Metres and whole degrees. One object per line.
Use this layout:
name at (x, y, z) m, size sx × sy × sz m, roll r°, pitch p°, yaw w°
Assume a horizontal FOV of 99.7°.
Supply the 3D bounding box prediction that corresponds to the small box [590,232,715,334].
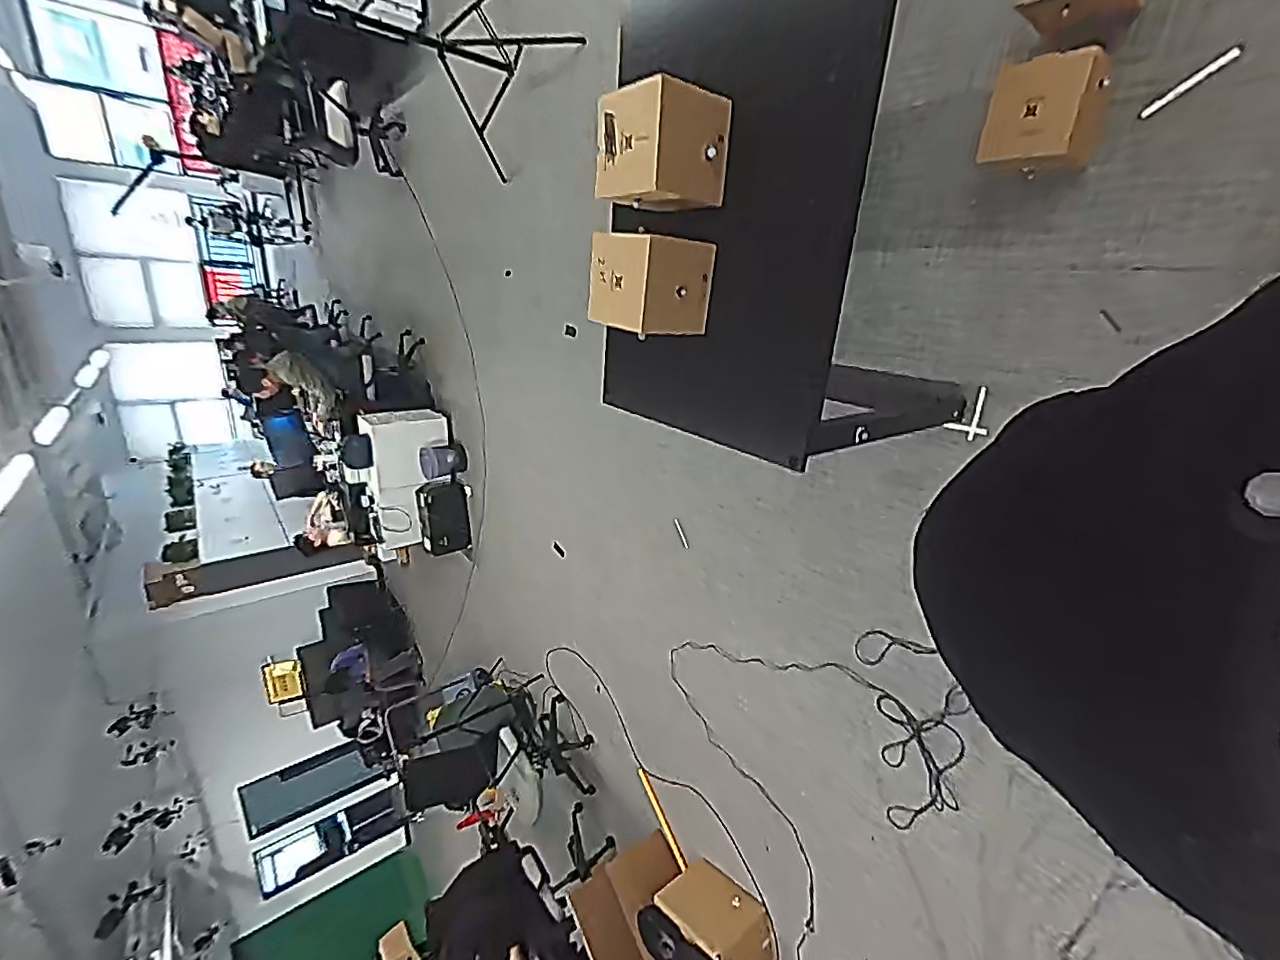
small box at (0.023, -0.384, 1.055) m, size 0.179 × 0.176 × 0.168 m, roll 30°, pitch 122°, yaw 45°

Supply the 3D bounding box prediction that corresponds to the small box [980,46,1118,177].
small box at (0.842, -0.743, 1.112) m, size 0.168 × 0.176 × 0.179 m, roll 26°, pitch 120°, yaw 47°

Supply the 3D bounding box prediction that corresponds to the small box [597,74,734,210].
small box at (0.042, -0.593, 0.976) m, size 0.179 × 0.176 × 0.168 m, roll 25°, pitch 119°, yaw 46°

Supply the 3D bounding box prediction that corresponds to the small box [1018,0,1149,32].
small box at (0.861, -0.988, 1.018) m, size 0.179 × 0.176 × 0.168 m, roll 25°, pitch 119°, yaw 47°
